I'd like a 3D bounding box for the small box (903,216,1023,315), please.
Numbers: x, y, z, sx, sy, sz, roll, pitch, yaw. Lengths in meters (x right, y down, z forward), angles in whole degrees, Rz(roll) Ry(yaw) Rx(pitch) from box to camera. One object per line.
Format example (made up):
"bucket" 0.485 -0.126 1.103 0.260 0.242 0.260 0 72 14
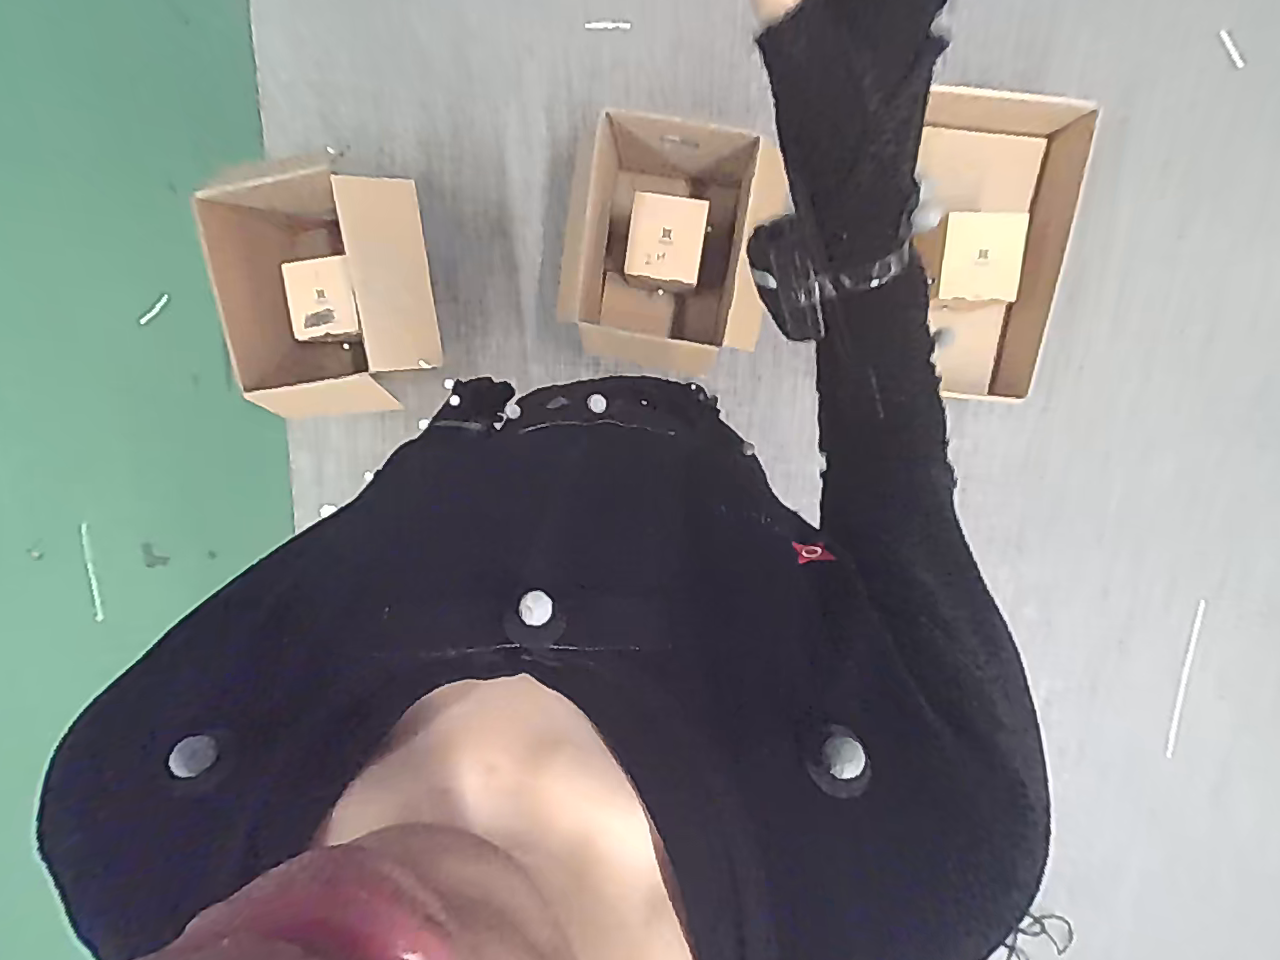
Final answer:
"small box" 0.716 -0.476 1.218 0.168 0.176 0.179 2 101 2
